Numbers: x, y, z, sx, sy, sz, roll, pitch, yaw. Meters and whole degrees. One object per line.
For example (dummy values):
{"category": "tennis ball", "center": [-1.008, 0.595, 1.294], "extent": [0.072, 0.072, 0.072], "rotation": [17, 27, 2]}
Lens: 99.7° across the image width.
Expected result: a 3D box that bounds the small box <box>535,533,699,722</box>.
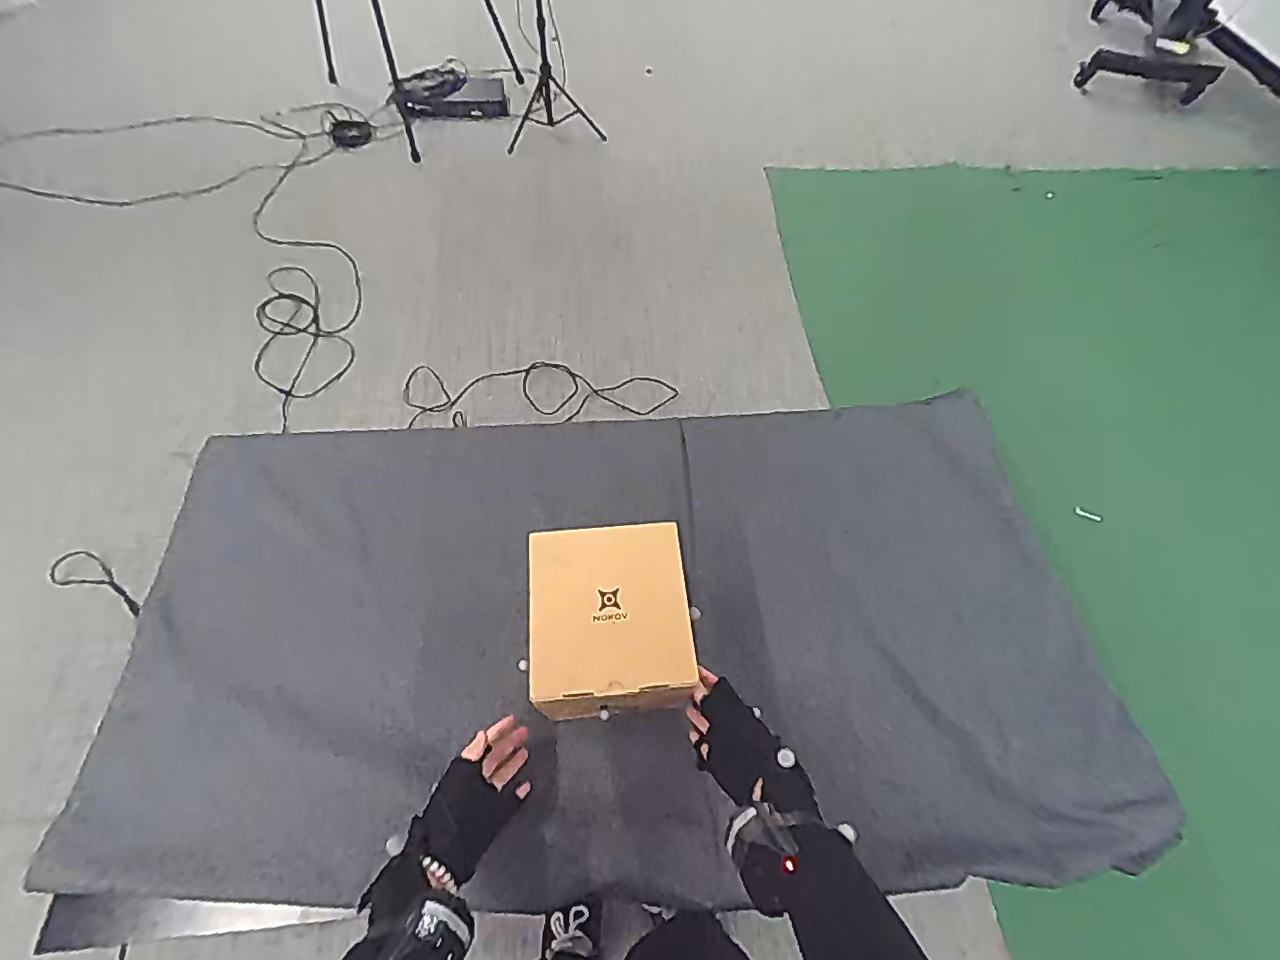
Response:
{"category": "small box", "center": [-0.034, 0.179, 0.642], "extent": [0.168, 0.176, 0.179], "rotation": [-4, 62, -5]}
